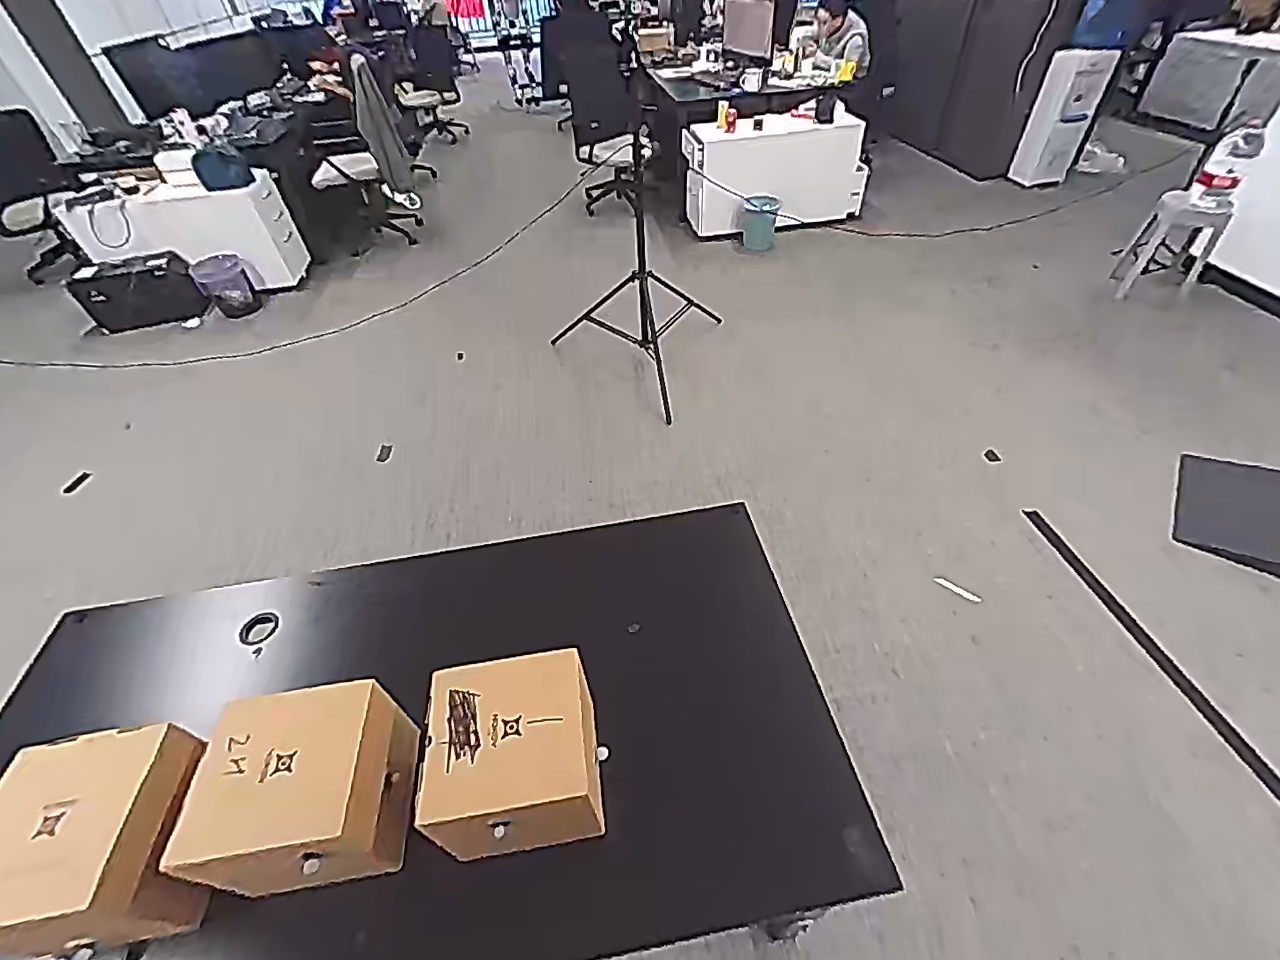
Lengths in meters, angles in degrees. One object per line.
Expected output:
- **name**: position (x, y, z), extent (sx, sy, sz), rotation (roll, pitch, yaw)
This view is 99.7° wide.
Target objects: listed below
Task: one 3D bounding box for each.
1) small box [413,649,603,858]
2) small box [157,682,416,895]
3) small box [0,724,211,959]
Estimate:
- **small box**: position (-0.145, 0.329, 0.647), extent (0.179, 0.176, 0.168), rotation (-8, 45, -4)
- **small box**: position (-0.383, 0.361, 0.633), extent (0.179, 0.176, 0.168), rotation (-8, 45, -4)
- **small box**: position (-0.597, 0.406, 0.608), extent (0.168, 0.176, 0.179), rotation (-10, 46, -4)
